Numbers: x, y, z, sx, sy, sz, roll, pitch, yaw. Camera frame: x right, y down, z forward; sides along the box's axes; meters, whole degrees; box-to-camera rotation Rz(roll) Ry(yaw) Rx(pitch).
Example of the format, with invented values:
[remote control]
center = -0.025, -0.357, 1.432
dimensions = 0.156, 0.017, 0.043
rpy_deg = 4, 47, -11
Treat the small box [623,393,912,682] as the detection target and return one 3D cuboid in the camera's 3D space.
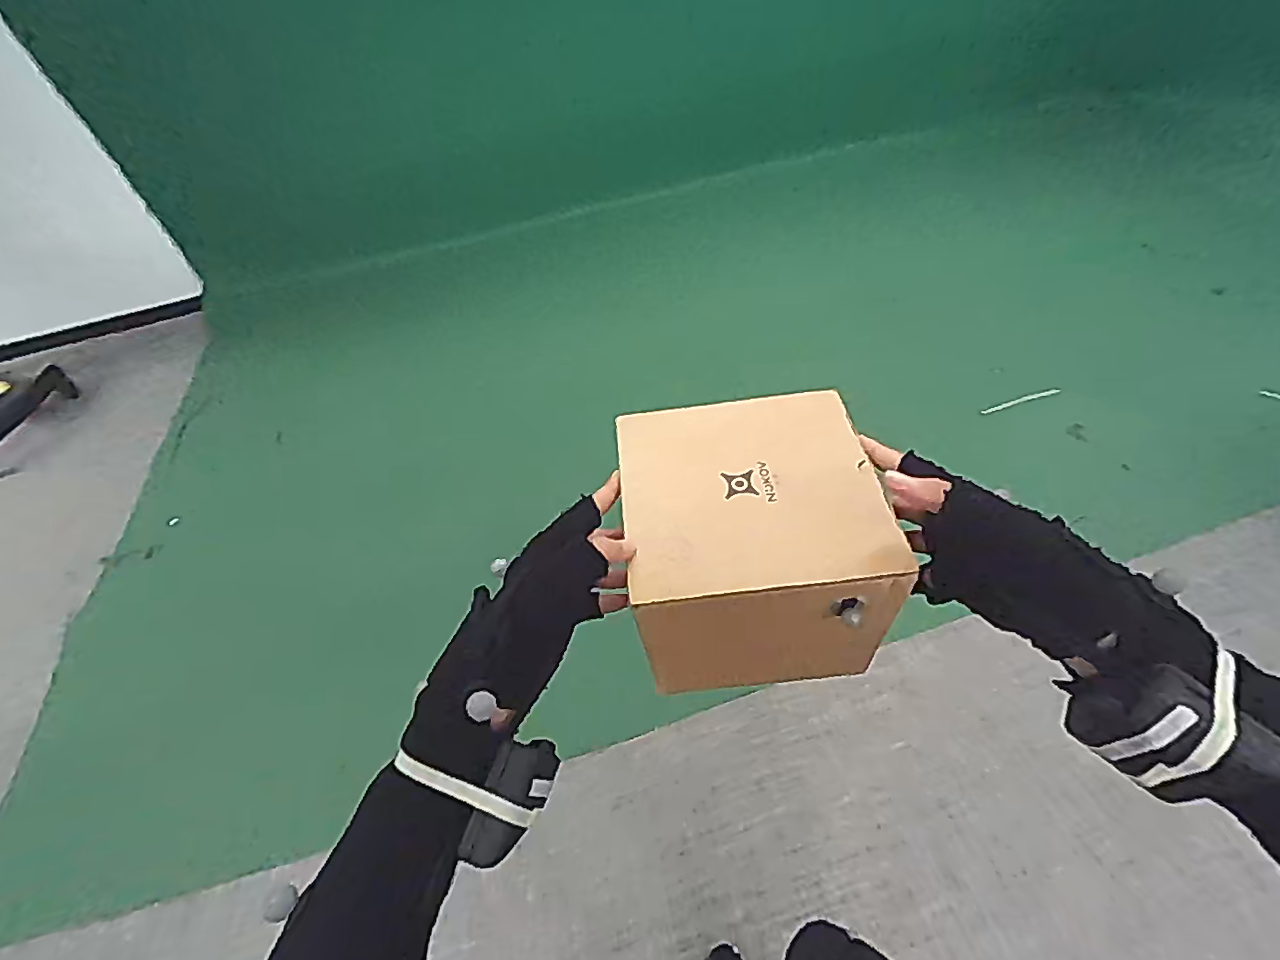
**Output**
[small box]
center = 0.086, 0.054, 0.445
dimensions = 0.179, 0.176, 0.168
rpy_deg = -7, 51, 2
